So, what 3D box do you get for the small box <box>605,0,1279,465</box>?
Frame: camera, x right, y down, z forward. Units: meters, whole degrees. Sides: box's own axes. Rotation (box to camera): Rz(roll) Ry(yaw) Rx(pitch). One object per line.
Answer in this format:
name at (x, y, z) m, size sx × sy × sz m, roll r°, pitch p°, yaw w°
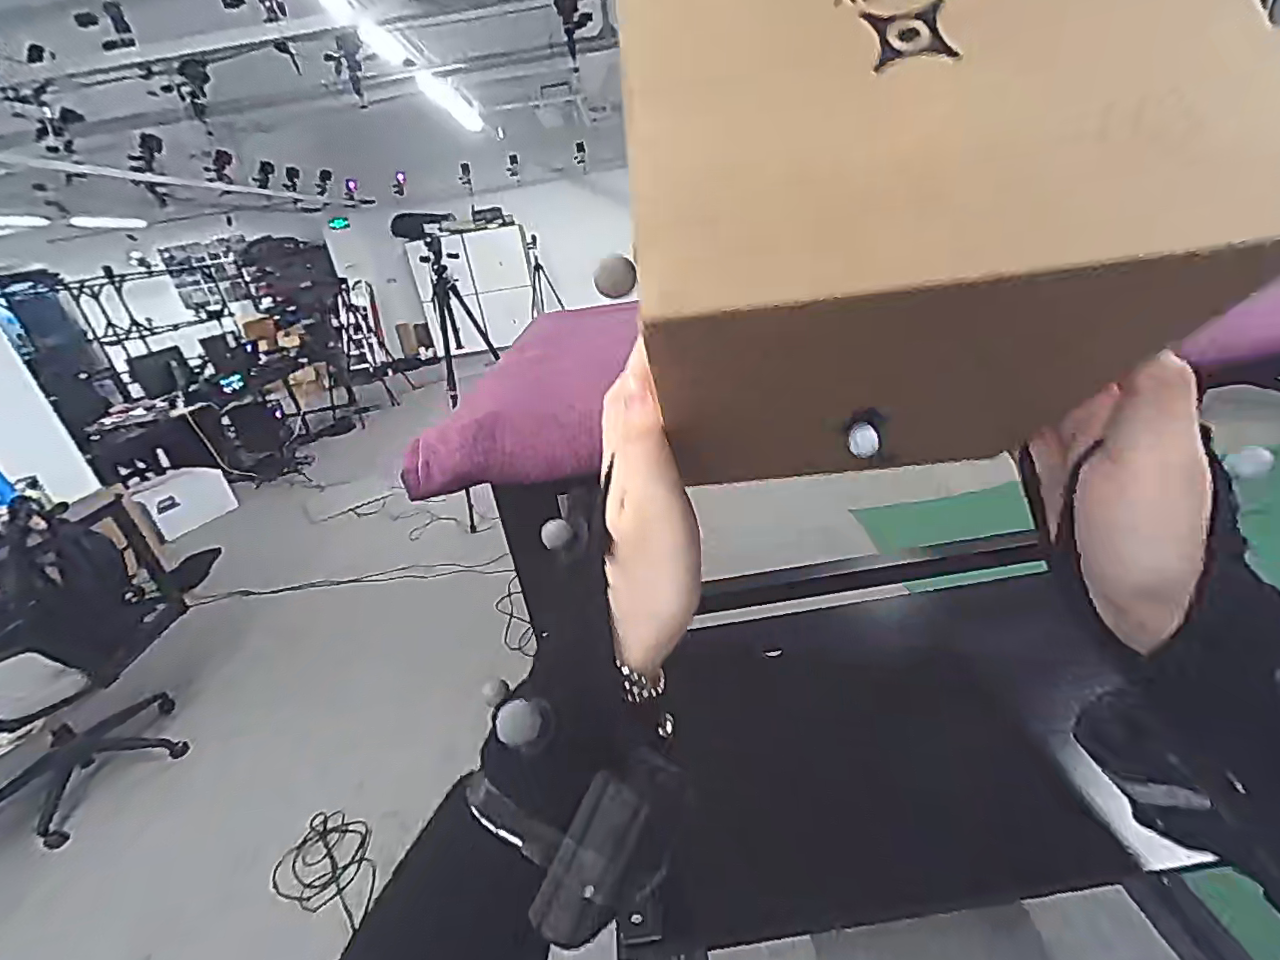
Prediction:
small box at (0.081, -0.111, 0.239) m, size 0.168 × 0.179 × 0.176 m, roll -5°, pitch -17°, yaw 6°
